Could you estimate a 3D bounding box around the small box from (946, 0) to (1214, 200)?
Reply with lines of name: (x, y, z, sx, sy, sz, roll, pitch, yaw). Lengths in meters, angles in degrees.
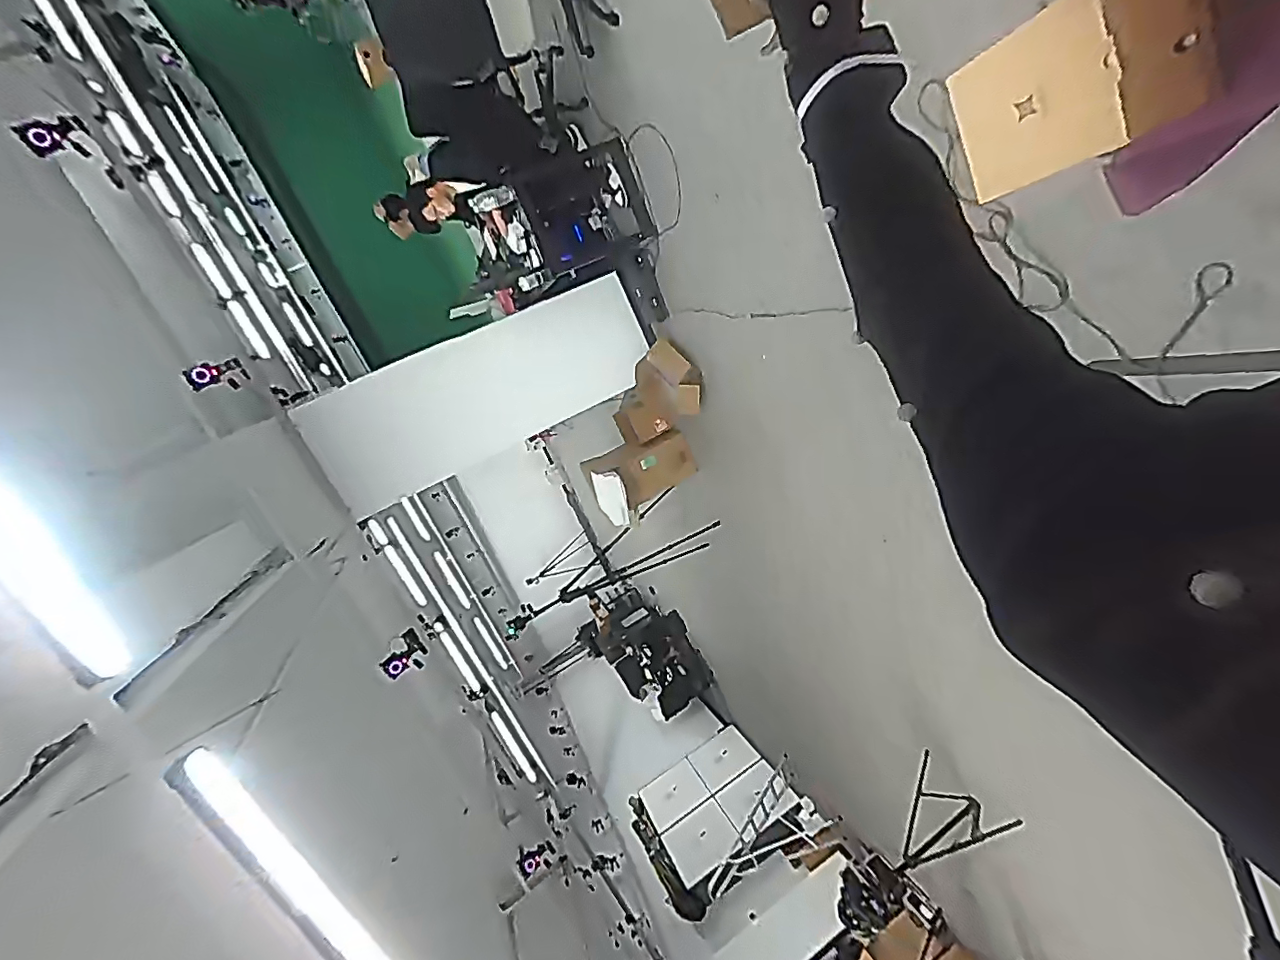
small box: (0.519, -0.475, 0.651, 0.168, 0.176, 0.179, 65, 164, -13)
